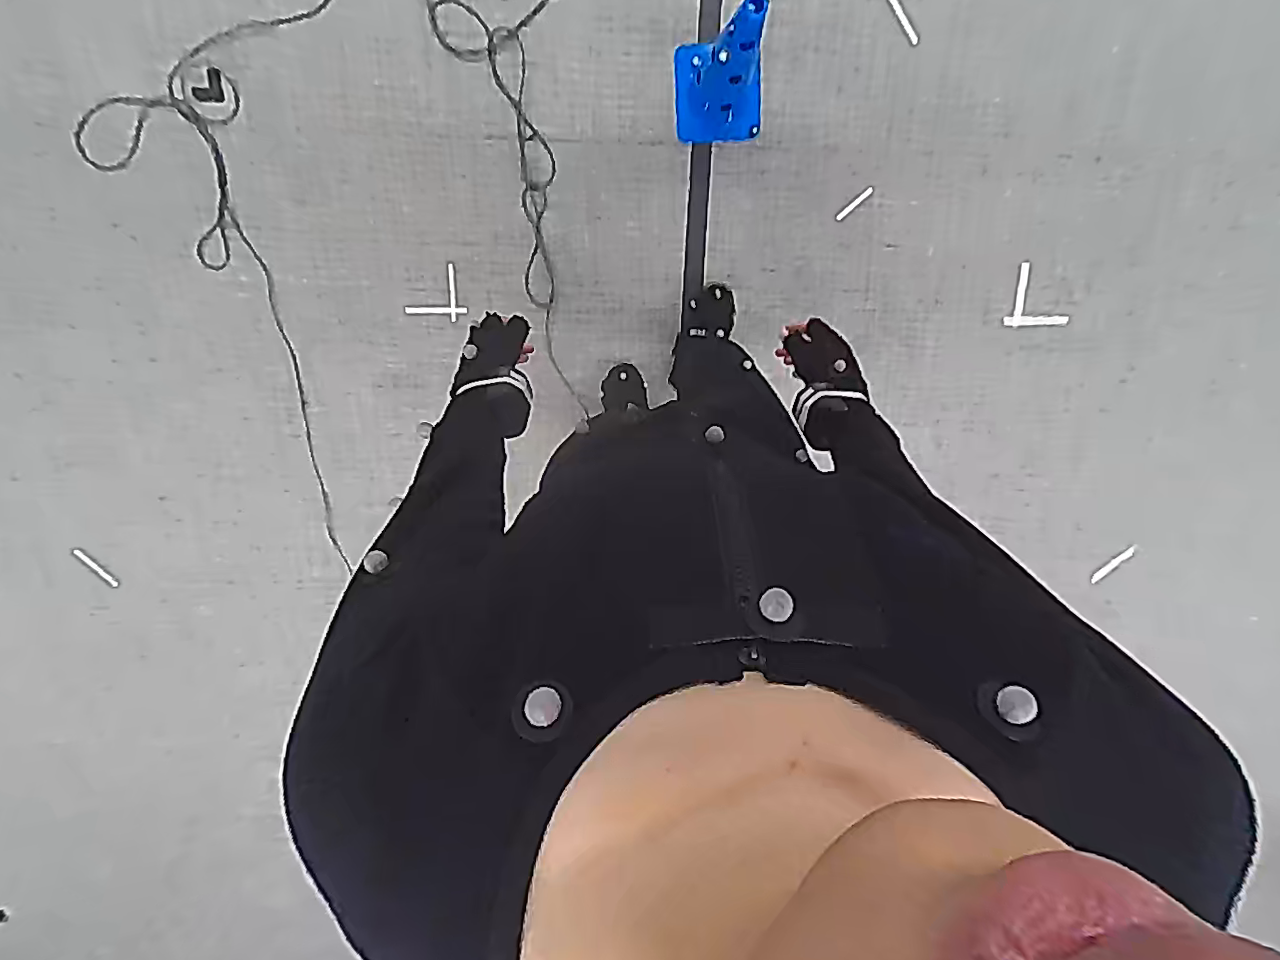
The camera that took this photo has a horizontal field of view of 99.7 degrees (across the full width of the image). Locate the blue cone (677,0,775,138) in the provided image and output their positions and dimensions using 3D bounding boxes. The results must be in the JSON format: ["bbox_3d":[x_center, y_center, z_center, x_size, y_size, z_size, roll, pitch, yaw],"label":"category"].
[{"bbox_3d":[0.192,-0.863,1.100,0.192,0.380,0.193,-3,105,-3],"label":"blue cone"}]
